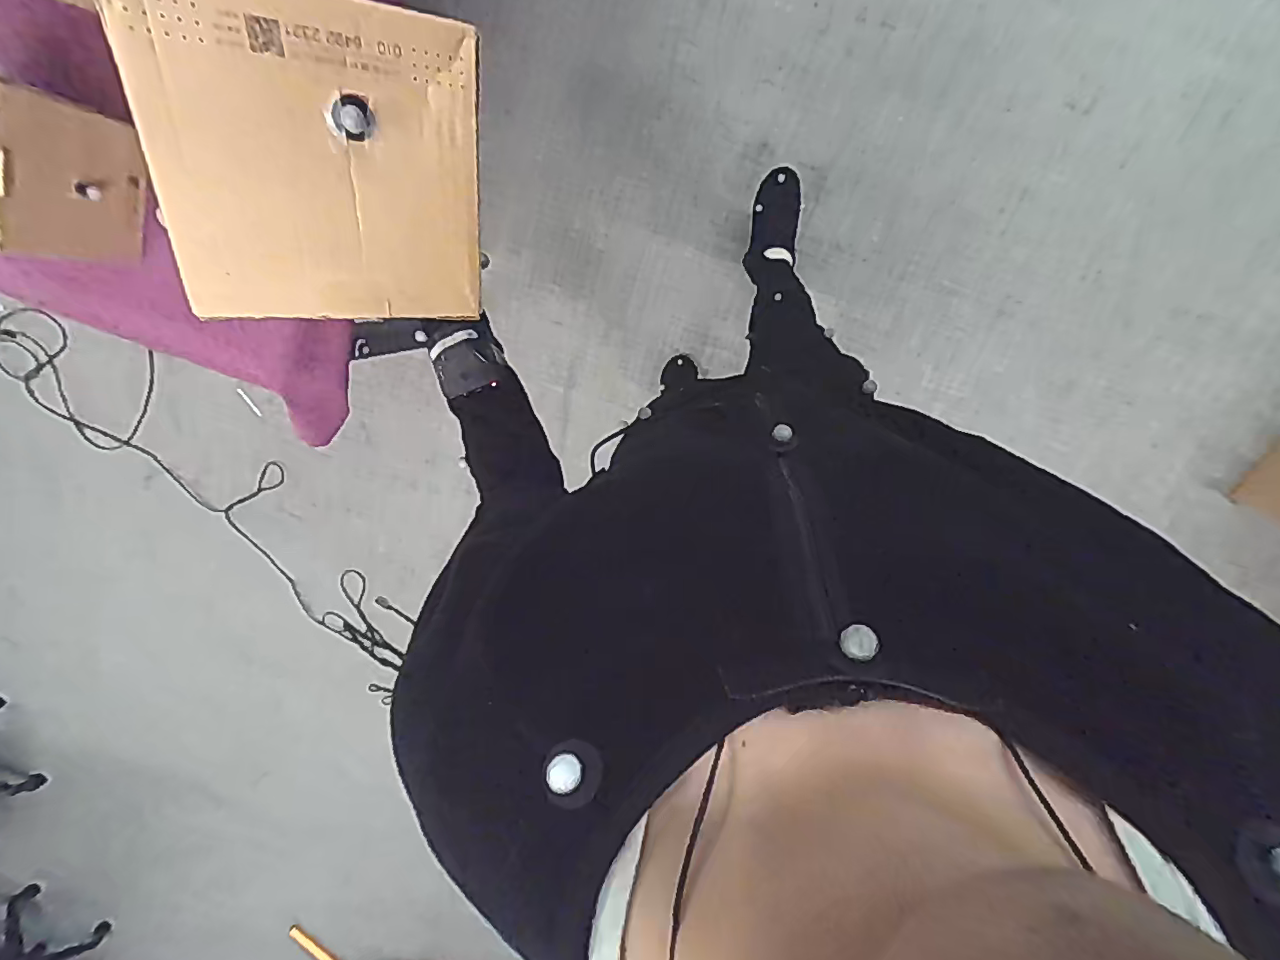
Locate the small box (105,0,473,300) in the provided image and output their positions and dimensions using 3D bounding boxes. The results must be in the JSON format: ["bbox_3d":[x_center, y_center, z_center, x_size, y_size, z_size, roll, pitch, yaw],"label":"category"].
[{"bbox_3d":[-0.212,-0.231,0.360,0.168,0.179,0.176,-8,126,-27],"label":"small box"}]

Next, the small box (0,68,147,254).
[{"bbox_3d":[-0.721,-0.371,0.617,0.179,0.176,0.168,21,108,-4],"label":"small box"}]
